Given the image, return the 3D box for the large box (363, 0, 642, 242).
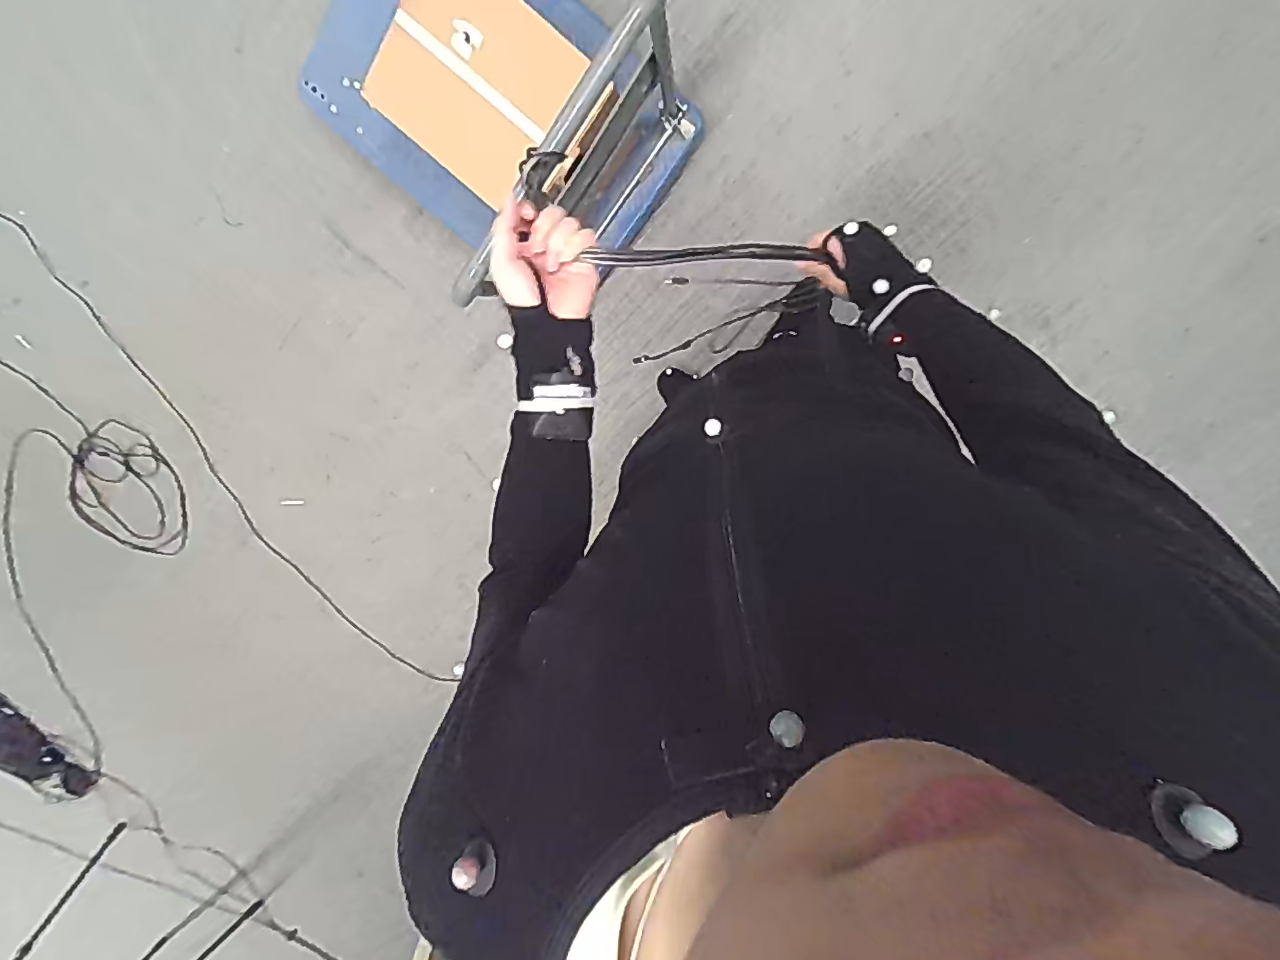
[{"bbox_3d":[-0.259,-0.767,1.131,0.408,0.320,0.320,40,109,-4],"label":"large box"}]
